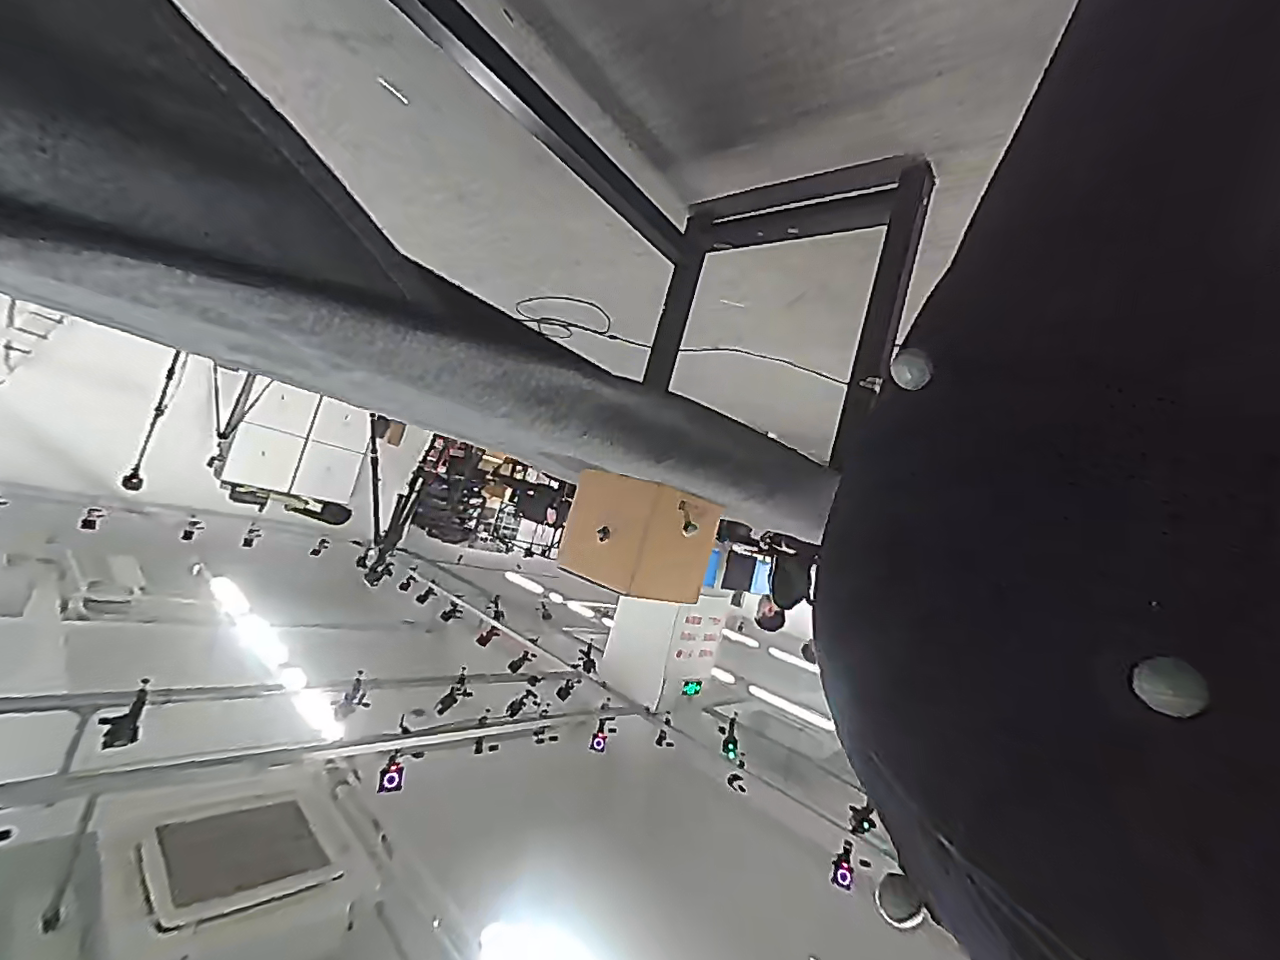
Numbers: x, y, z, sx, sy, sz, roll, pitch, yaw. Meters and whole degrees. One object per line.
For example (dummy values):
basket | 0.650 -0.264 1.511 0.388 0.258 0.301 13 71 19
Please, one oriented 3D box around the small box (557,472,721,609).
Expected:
small box | 0.002 0.091 0.856 0.179 0.176 0.168 11 173 44
